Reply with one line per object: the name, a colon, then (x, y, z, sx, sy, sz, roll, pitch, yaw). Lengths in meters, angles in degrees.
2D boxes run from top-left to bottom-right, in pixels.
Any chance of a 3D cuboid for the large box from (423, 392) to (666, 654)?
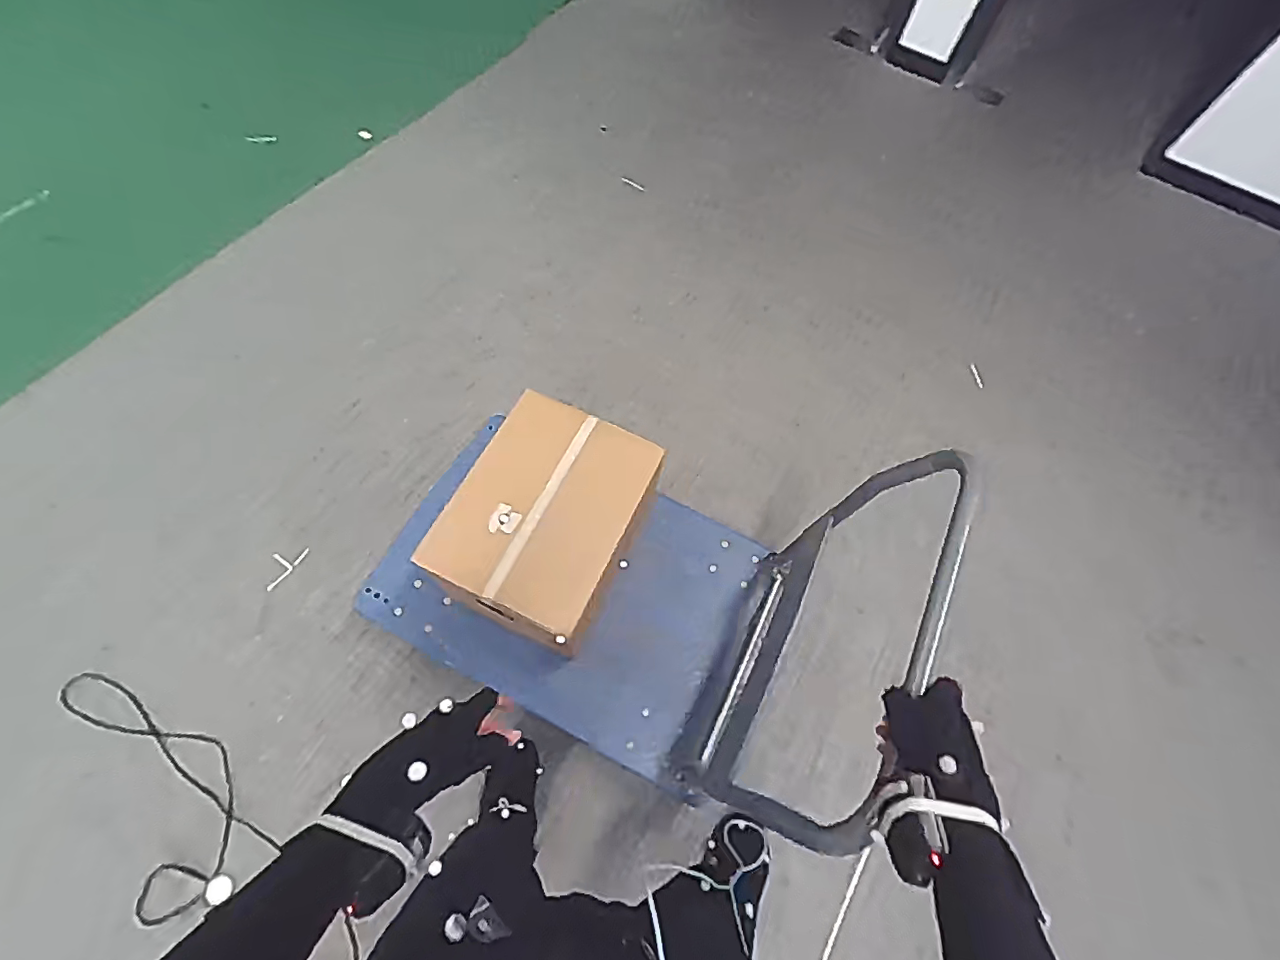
large box: (-0.176, 0.101, 1.144, 0.320, 0.320, 0.408, 25, 67, 7)
